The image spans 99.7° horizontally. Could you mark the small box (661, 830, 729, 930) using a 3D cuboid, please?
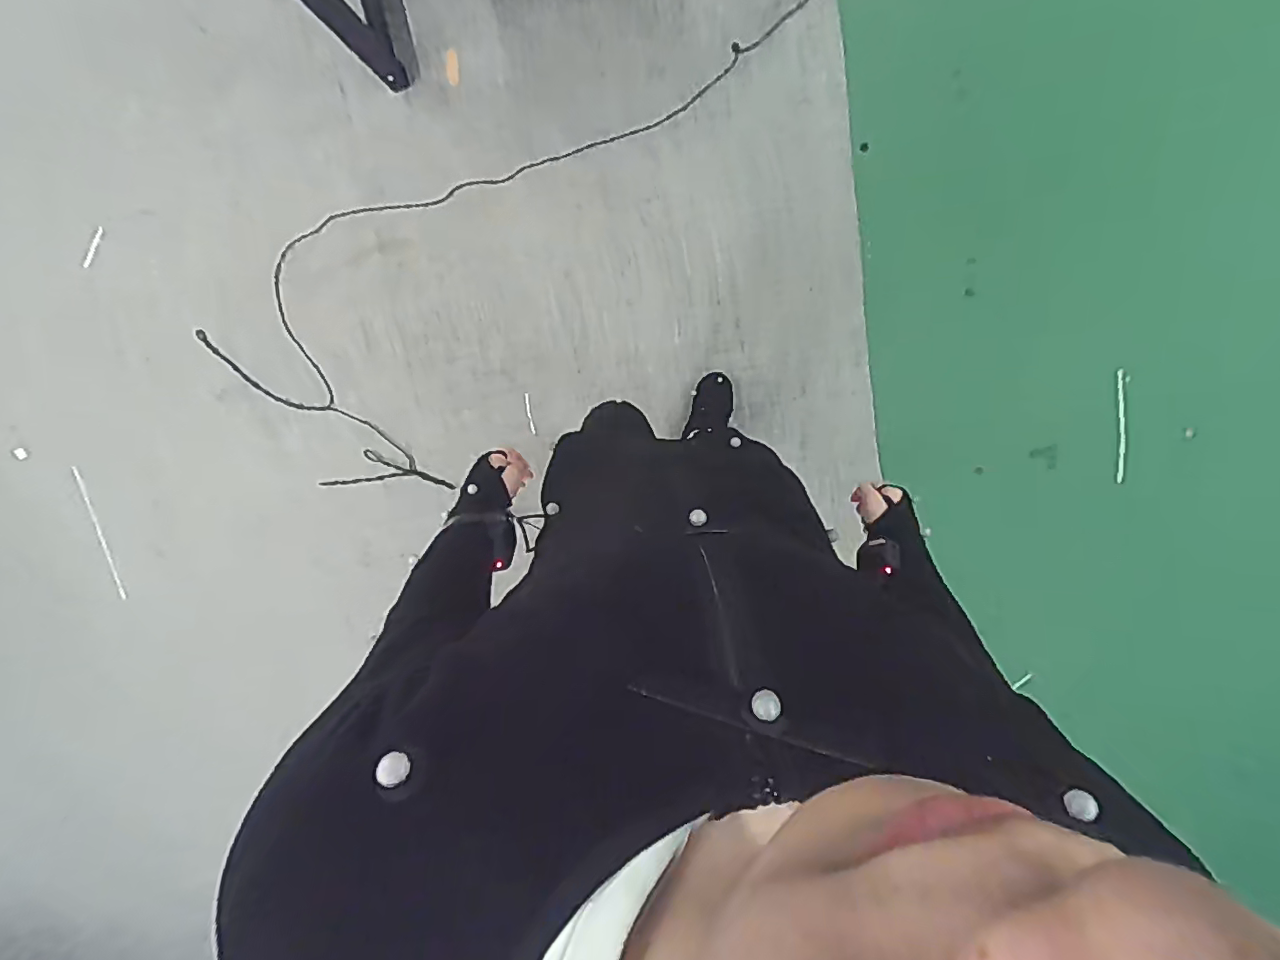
[{"bbox_3d":[0.151,1.115,1.517,0.168,0.176,0.179,-8,100,6],"label":"small box"}]

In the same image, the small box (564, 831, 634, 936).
[{"bbox_3d":[-0.110,1.145,1.541,0.168,0.176,0.179,-7,100,4],"label":"small box"}]
